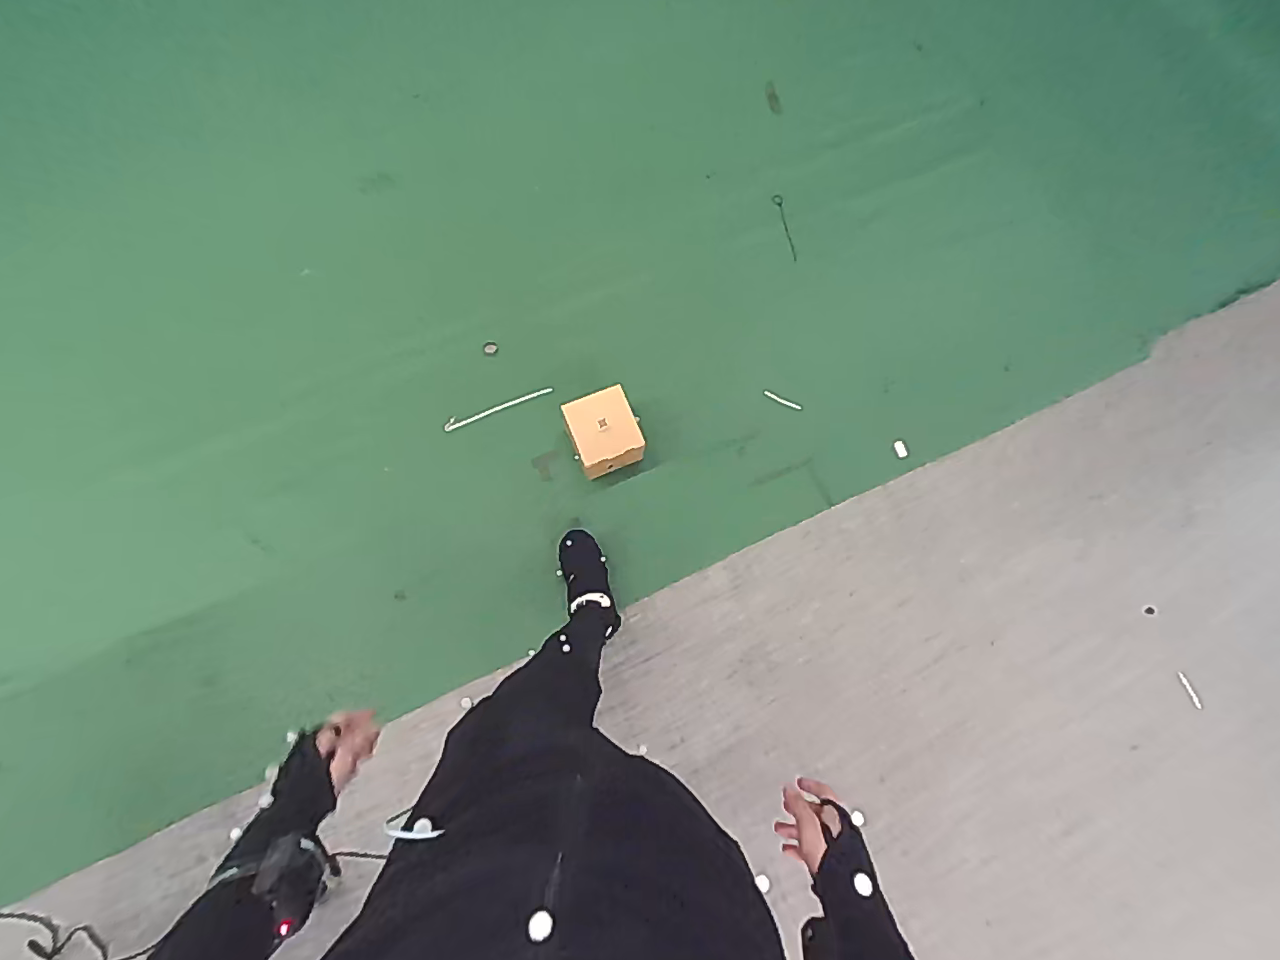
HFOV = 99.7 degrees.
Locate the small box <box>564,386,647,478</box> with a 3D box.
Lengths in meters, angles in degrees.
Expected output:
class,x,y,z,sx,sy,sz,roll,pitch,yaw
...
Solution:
class,x,y,z,sx,sy,sz,roll,pitch,yaw
small box,-0.096,-0.123,1.451,0.168,0.176,0.179,-22,82,-8
